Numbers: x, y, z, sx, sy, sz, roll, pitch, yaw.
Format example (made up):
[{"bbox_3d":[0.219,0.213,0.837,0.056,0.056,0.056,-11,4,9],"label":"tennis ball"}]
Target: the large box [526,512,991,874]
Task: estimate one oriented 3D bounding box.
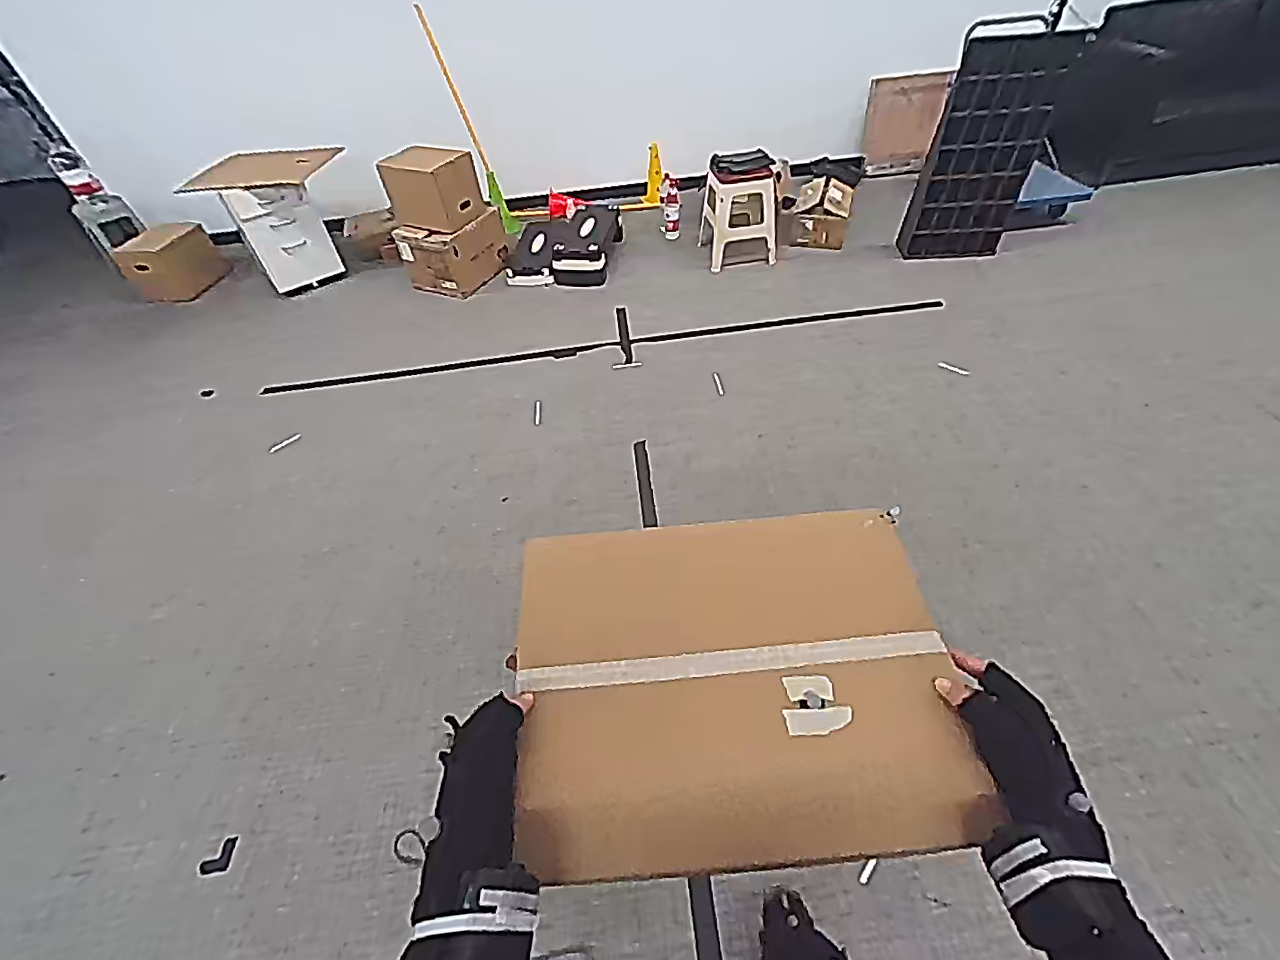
[{"bbox_3d":[0.093,0.267,0.657,0.408,0.320,0.320,-5,54,0],"label":"large box"}]
